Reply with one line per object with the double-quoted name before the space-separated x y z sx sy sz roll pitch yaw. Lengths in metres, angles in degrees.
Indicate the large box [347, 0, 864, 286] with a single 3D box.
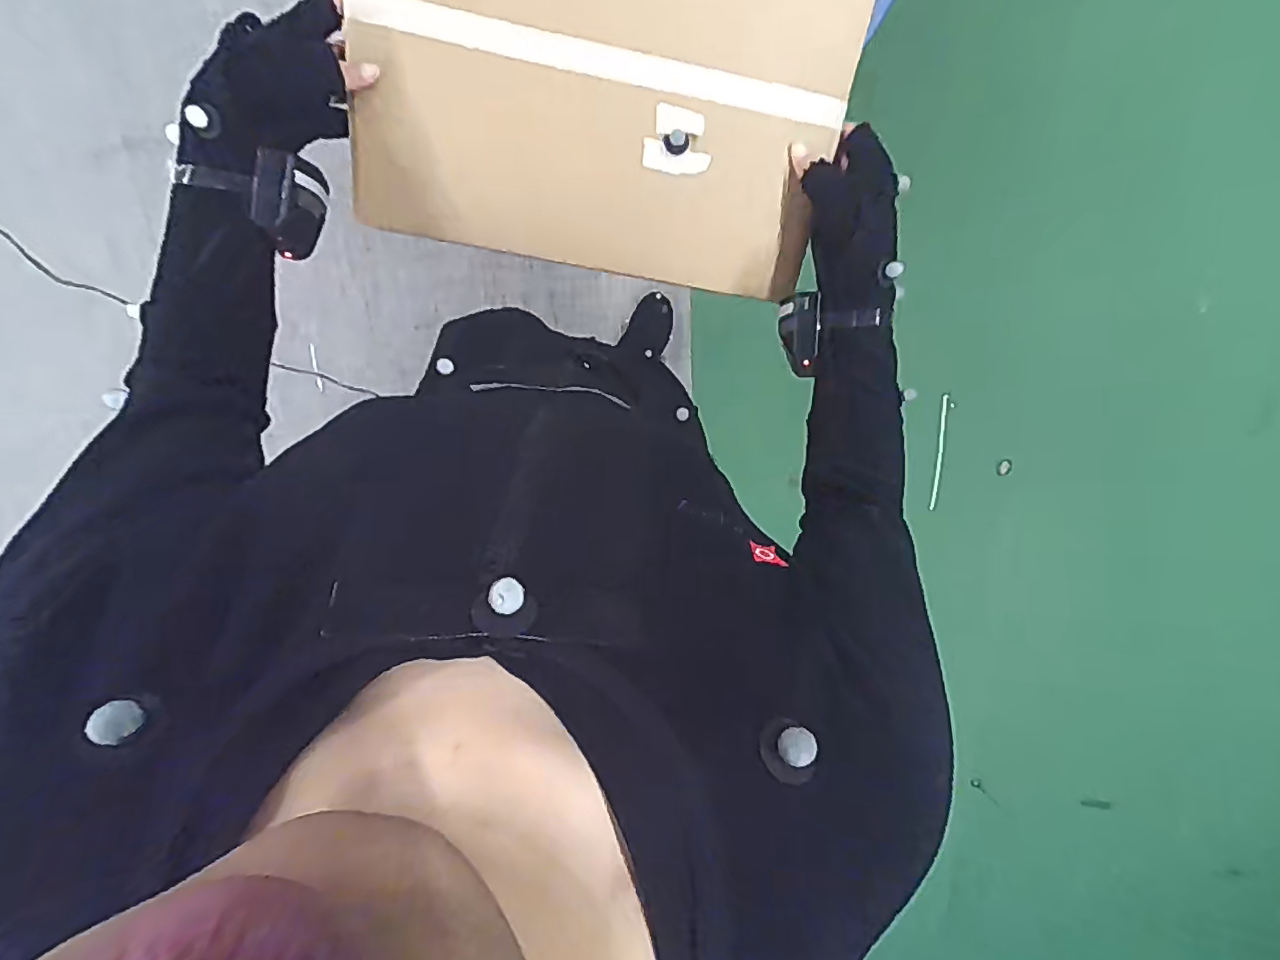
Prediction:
"large box" -0.039 -0.407 0.568 0.408 0.320 0.320 8 115 -8
